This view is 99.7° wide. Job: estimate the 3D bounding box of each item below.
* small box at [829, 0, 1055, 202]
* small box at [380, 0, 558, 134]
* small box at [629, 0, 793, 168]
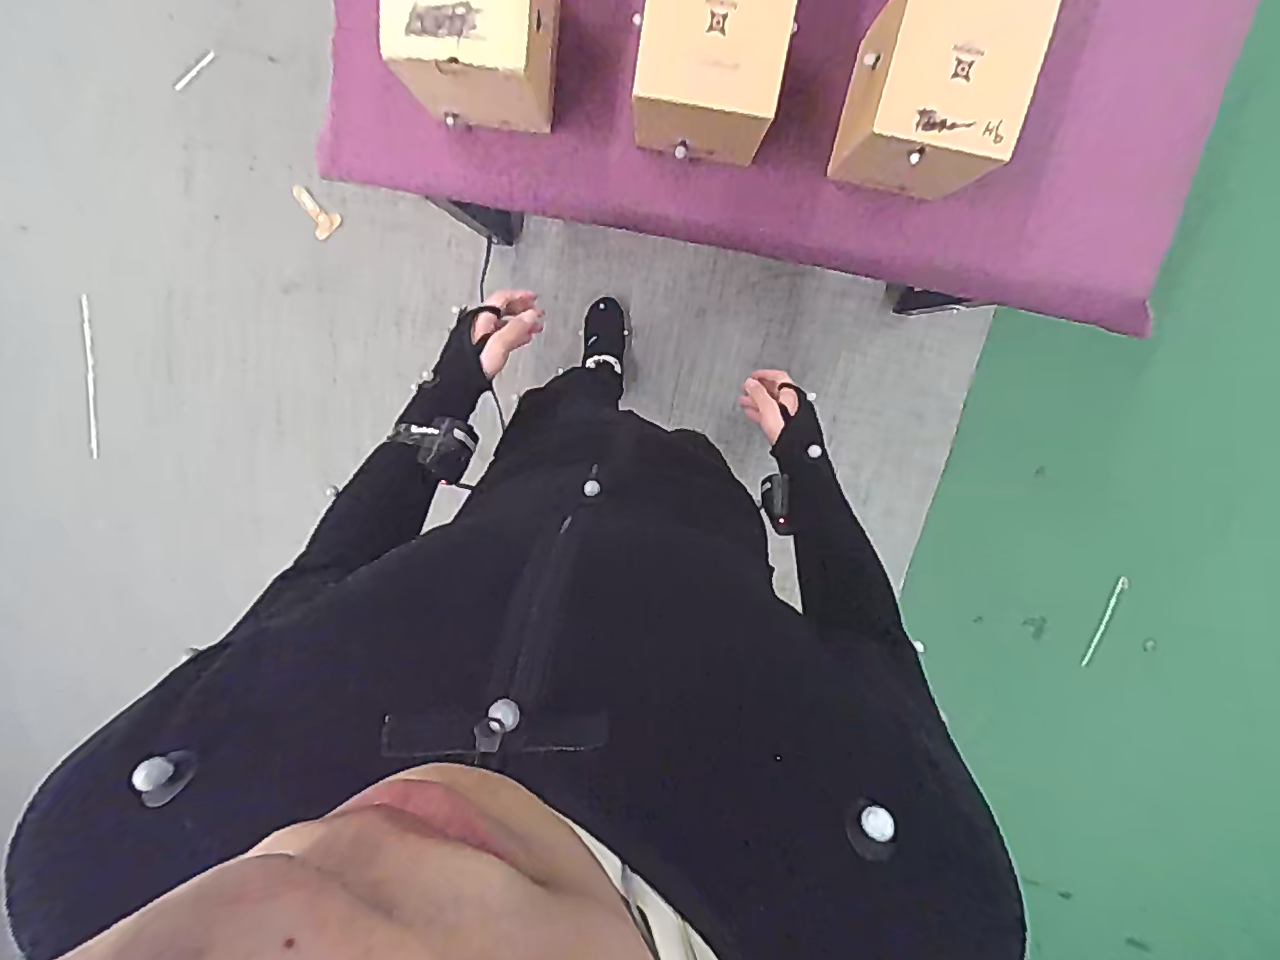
[{"bbox_3d":[0.356,-0.477,0.676,0.168,0.176,0.179,12,103,-1],"label":"small box"},{"bbox_3d":[-0.201,-0.561,0.671,0.168,0.176,0.179,6,102,0],"label":"small box"},{"bbox_3d":[0.083,-0.523,0.676,0.168,0.176,0.179,10,104,0],"label":"small box"}]
